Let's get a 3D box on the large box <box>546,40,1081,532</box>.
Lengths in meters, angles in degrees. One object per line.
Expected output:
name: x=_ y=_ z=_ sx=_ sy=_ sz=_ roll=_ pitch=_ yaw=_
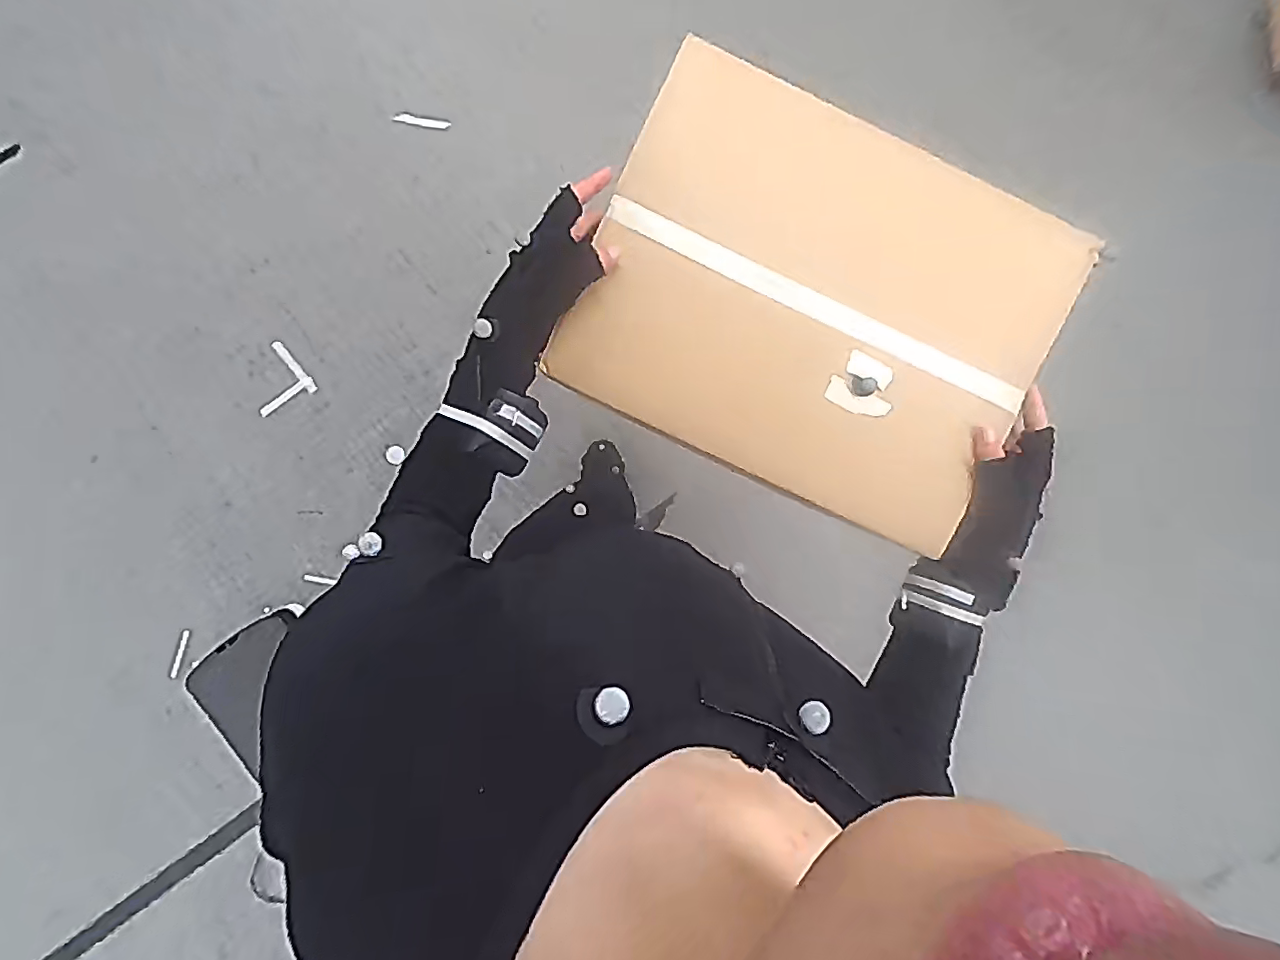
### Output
large box: x=0.150 y=-0.178 z=0.631 sx=0.408 sy=0.320 sz=0.320 roll=24 pitch=95 yaw=-3
